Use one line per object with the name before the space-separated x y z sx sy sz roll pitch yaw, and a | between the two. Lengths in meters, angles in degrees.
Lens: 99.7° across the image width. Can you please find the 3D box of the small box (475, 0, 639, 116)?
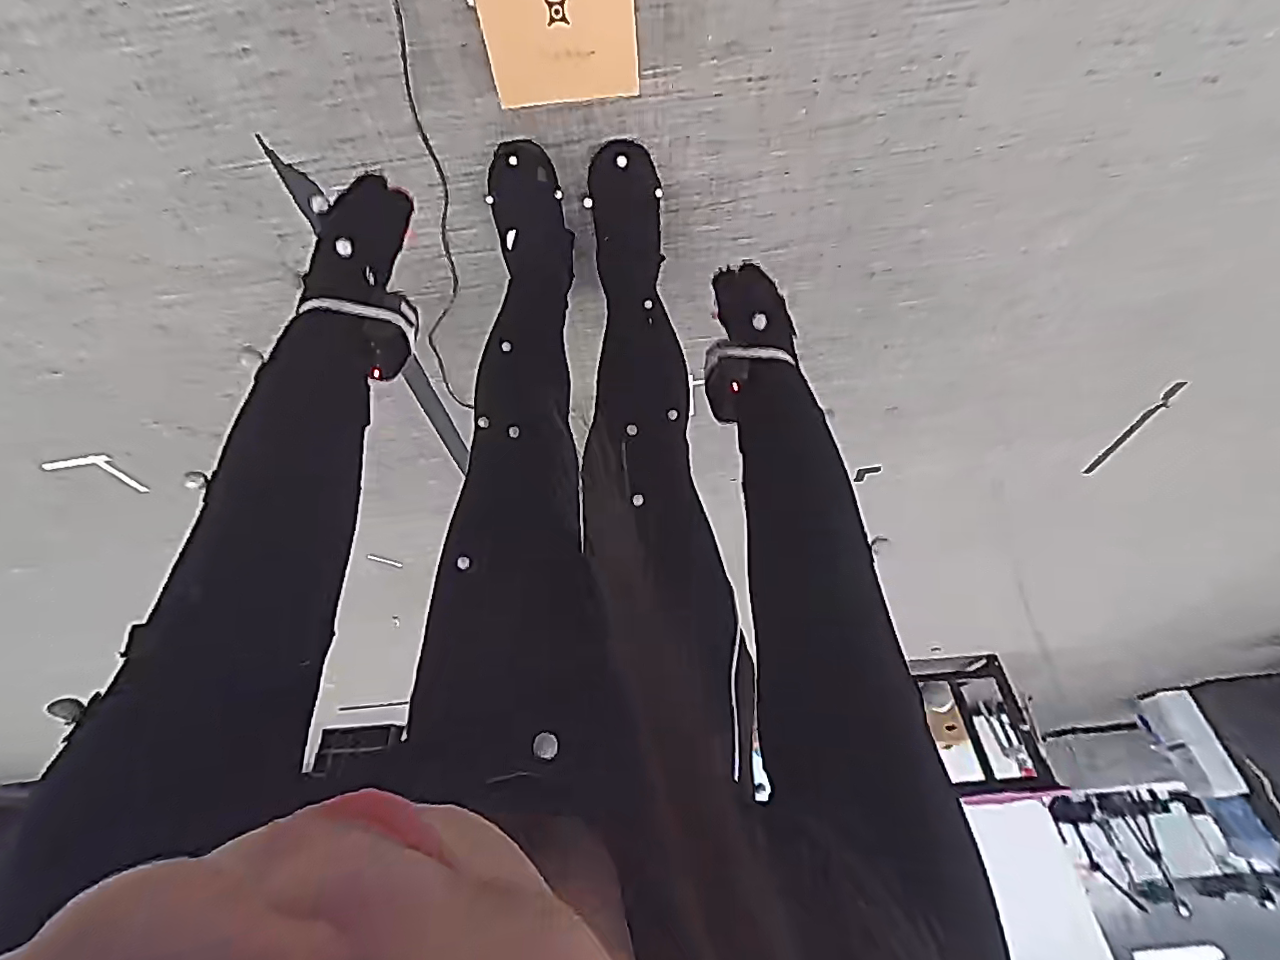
small box | -0.093 -0.550 0.610 0.168 0.176 0.179 -5 146 1
